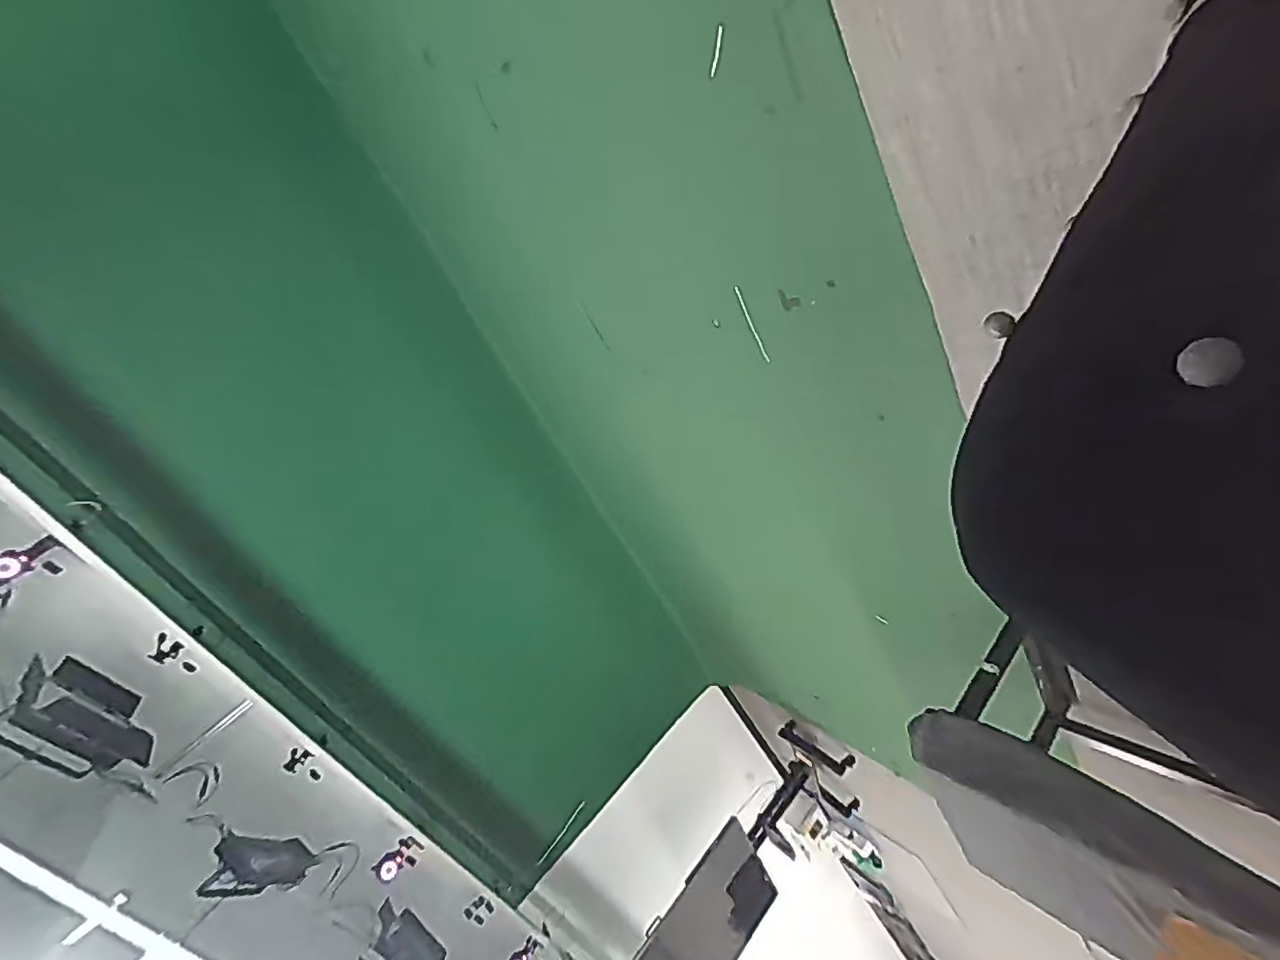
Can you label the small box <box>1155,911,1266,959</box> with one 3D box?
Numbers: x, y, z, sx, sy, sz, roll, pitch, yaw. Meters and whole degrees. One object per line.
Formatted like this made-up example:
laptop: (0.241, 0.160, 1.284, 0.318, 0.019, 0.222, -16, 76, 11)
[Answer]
small box: (1.212, 1.068, 1.131, 0.179, 0.176, 0.168, 9, 135, 58)
